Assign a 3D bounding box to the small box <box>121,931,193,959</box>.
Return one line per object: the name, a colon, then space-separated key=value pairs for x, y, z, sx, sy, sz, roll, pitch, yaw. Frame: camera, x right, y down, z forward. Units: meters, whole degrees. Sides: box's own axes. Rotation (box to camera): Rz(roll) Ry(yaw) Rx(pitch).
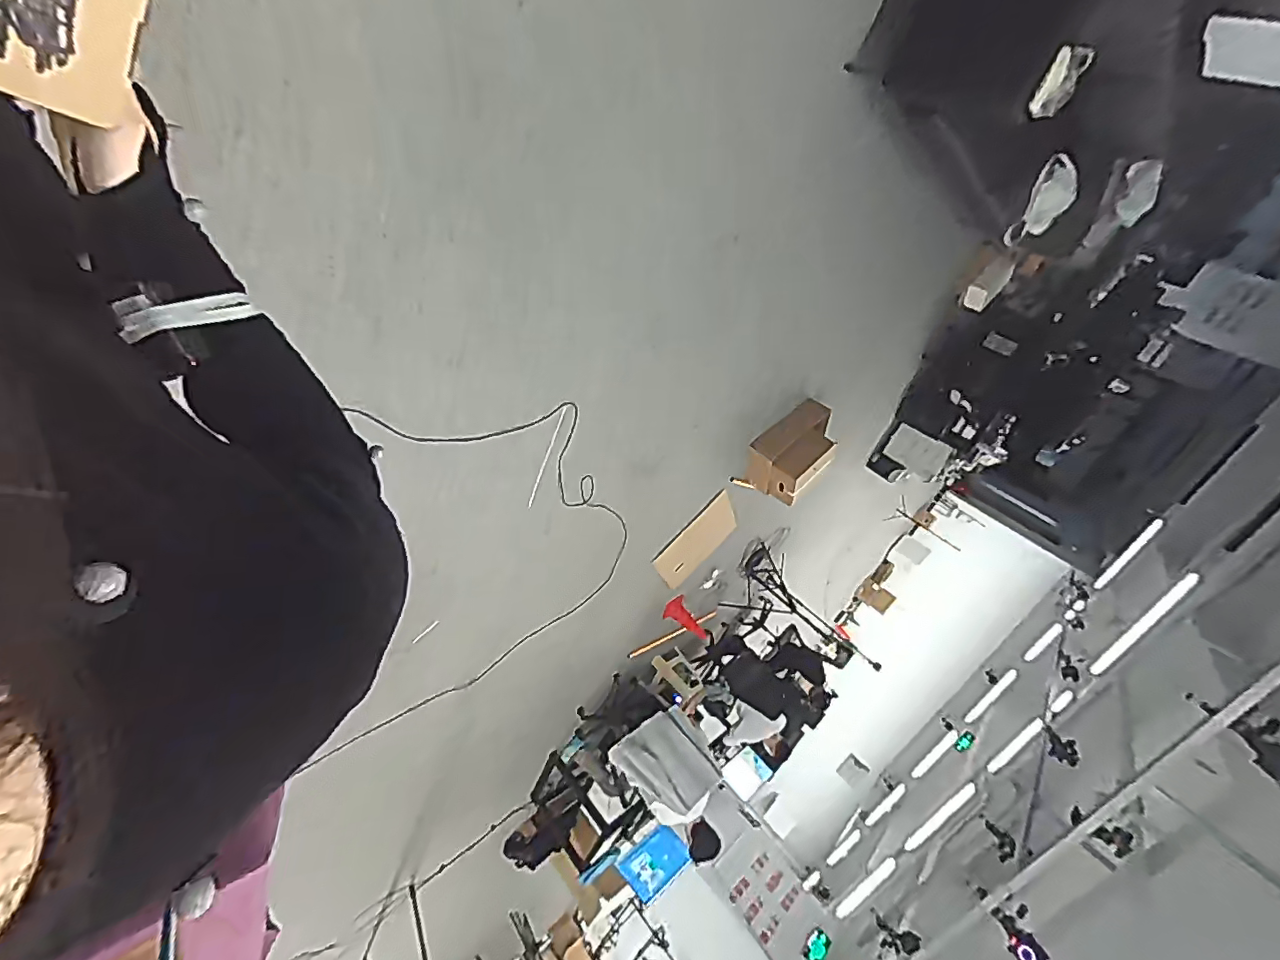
small box: x=-0.986 y=1.054 z=1.067 sx=0.168 sy=0.176 sz=0.179 roll=-8 pitch=129 yaw=-48
